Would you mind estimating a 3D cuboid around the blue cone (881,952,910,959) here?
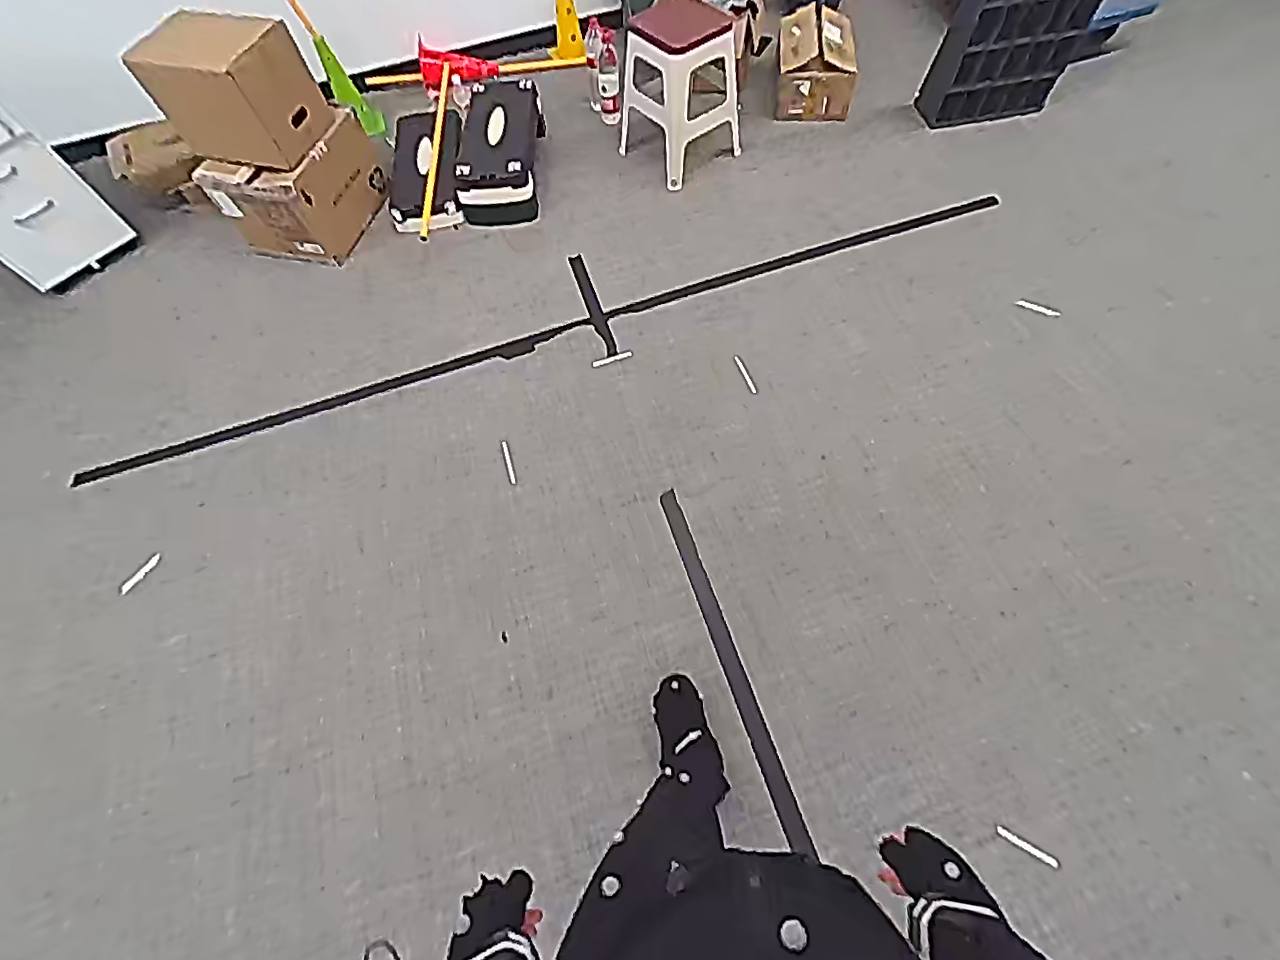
[{"bbox_3d":[0.467,0.954,0.867,0.192,0.380,0.193,-21,63,-8],"label":"blue cone"}]
